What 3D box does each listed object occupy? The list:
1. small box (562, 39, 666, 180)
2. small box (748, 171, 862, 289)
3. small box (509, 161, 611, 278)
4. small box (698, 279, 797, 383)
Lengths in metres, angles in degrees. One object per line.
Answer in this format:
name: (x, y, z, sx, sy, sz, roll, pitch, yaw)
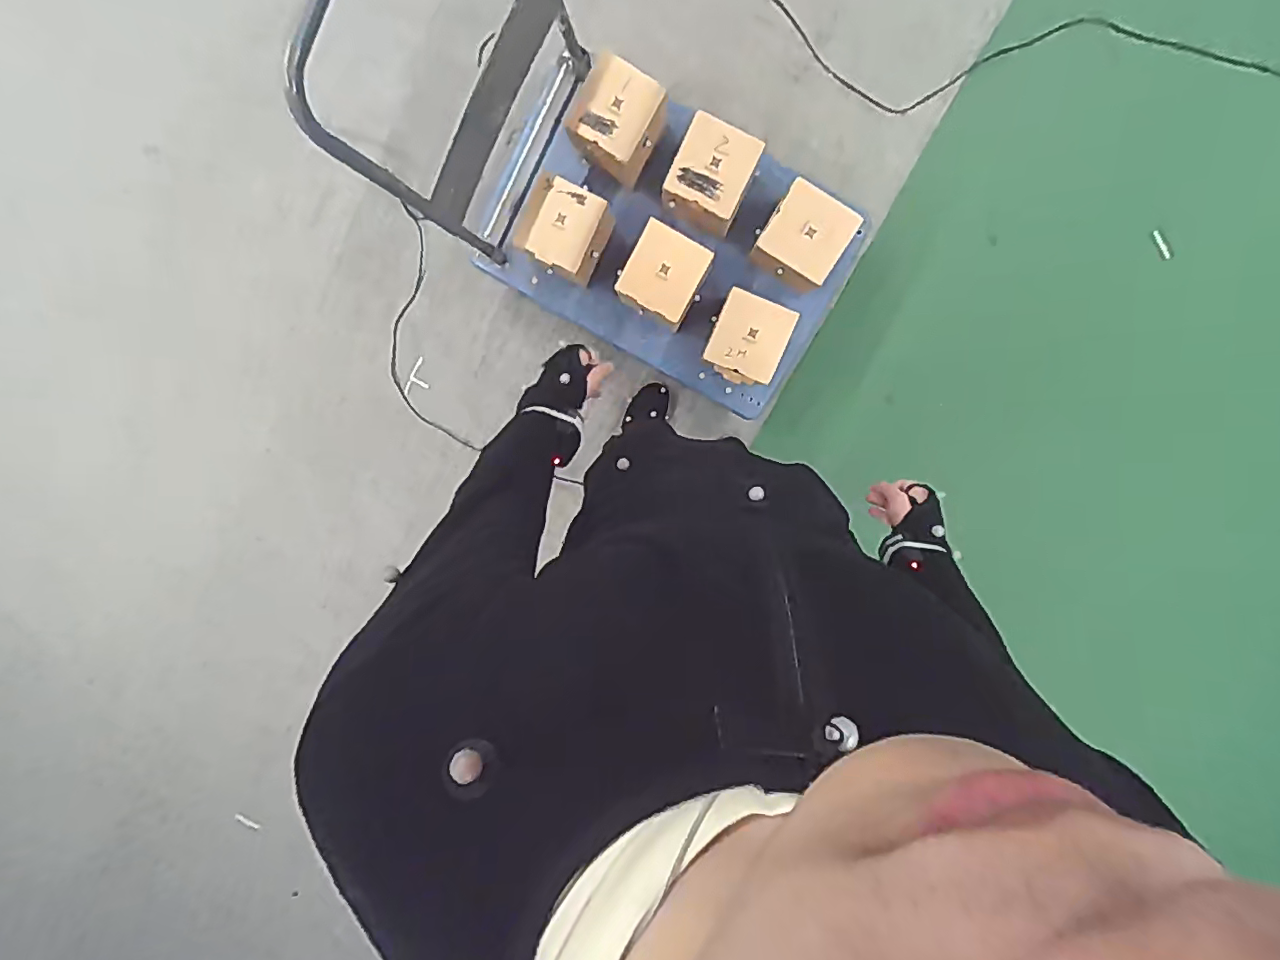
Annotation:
small box: (-0.051, -0.827, 1.231, 0.168, 0.176, 0.179, 32, 100, -3)
small box: (0.370, -0.565, 1.253, 0.179, 0.176, 0.168, 33, 101, -2)
small box: (-0.179, -0.603, 1.278, 0.168, 0.176, 0.179, 27, 101, -2)
small box: (0.248, -0.349, 1.296, 0.168, 0.176, 0.179, 30, 102, 1)
